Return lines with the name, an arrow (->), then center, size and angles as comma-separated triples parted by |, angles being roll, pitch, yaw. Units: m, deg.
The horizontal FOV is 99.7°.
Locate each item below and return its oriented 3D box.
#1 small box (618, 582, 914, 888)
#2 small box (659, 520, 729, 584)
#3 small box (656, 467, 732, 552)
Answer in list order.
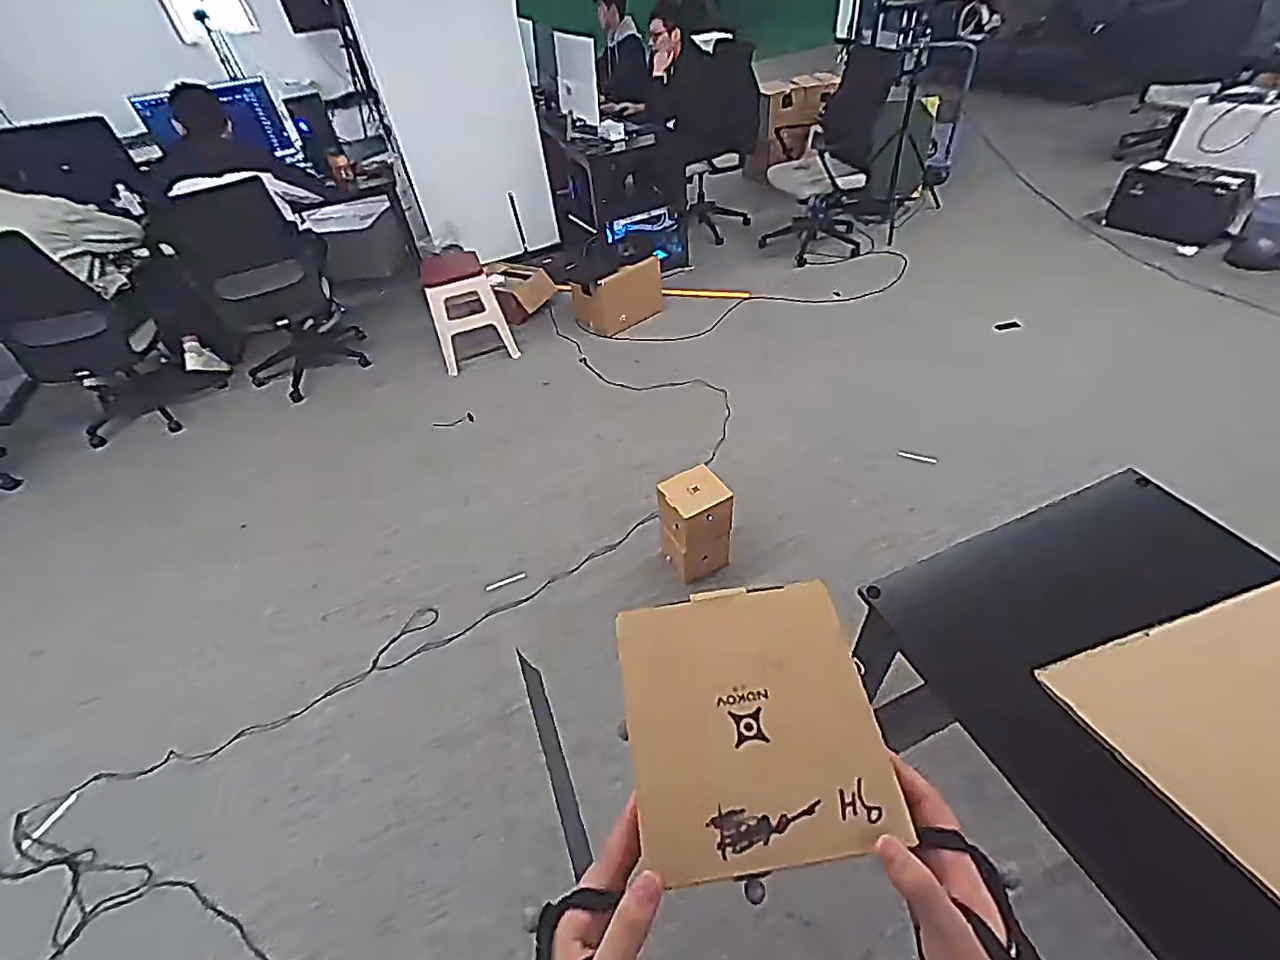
small box -> 0.078, 0.207, 0.432 | 0.168, 0.176, 0.179 | -9, 53, -1
small box -> 0.180, 0.213, 1.798 | 0.179, 0.176, 0.168 | -23, 46, -14
small box -> 0.169, 0.095, 1.686 | 0.179, 0.176, 0.168 | -24, 48, -18
